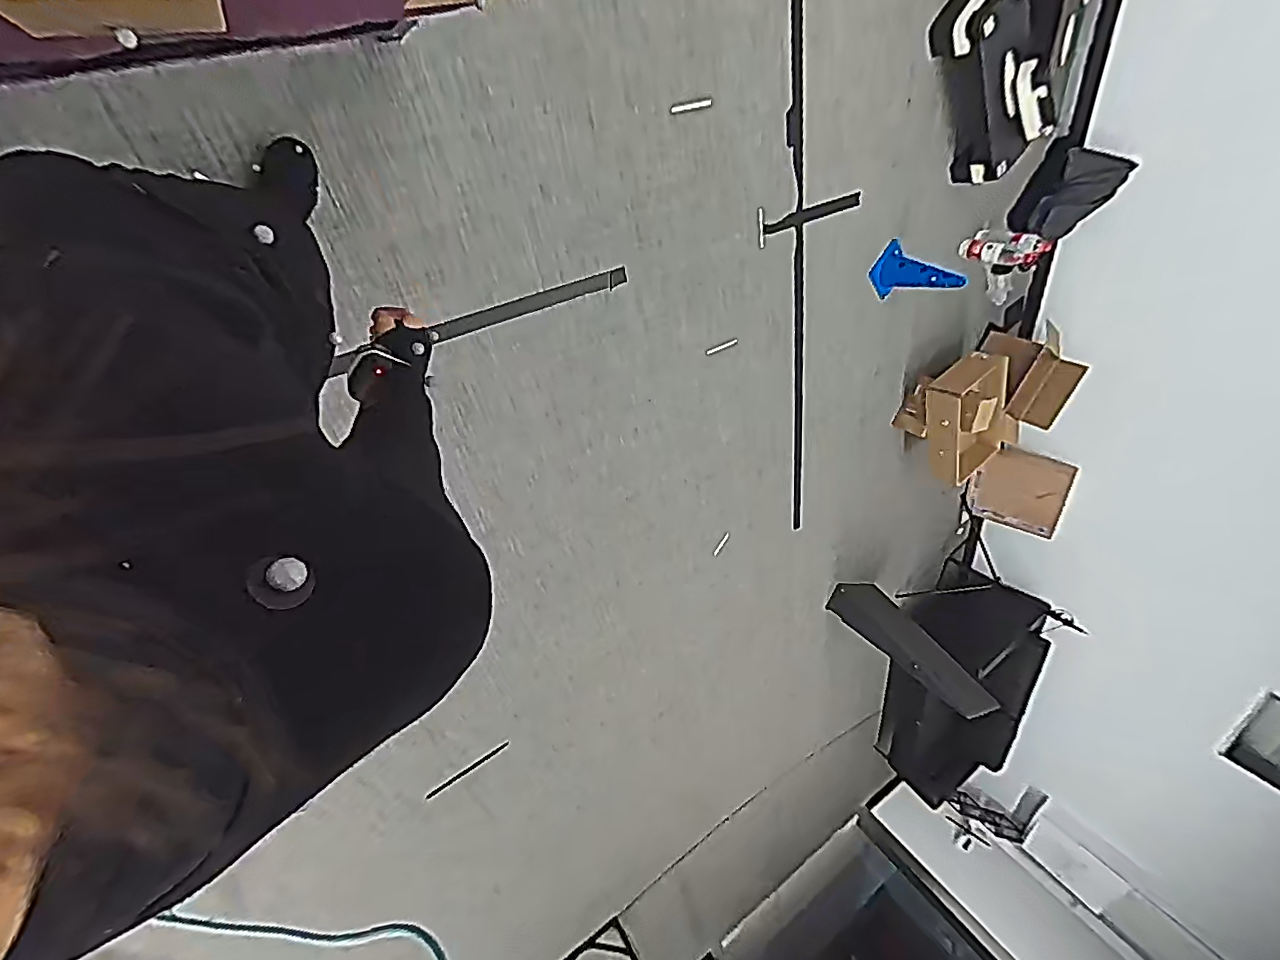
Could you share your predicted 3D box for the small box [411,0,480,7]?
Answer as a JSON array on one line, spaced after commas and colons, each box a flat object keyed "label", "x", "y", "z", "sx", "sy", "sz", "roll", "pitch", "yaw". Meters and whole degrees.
[{"label": "small box", "x": -0.193, "y": -0.645, "z": 0.577, "sx": 0.168, "sy": 0.176, "sz": 0.179, "roll": -26, "pitch": 128, "yaw": -20}]
